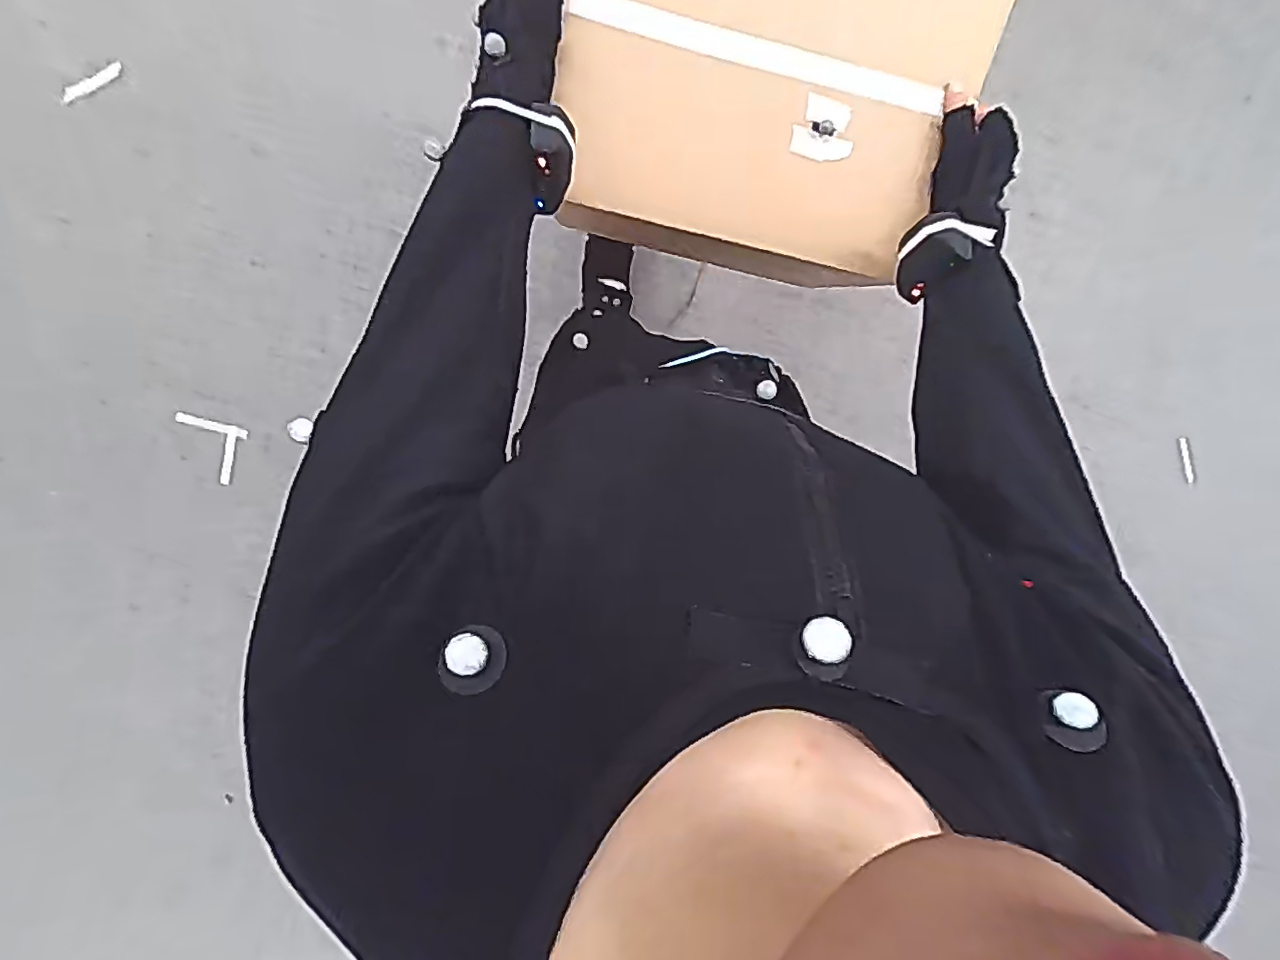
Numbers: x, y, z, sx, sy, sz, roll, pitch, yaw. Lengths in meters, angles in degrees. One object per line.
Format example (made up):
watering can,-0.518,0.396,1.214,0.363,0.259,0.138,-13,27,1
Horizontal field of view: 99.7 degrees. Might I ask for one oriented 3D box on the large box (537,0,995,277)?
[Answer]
large box,0.110,-0.448,0.652,0.408,0.320,0.320,11,110,-7
